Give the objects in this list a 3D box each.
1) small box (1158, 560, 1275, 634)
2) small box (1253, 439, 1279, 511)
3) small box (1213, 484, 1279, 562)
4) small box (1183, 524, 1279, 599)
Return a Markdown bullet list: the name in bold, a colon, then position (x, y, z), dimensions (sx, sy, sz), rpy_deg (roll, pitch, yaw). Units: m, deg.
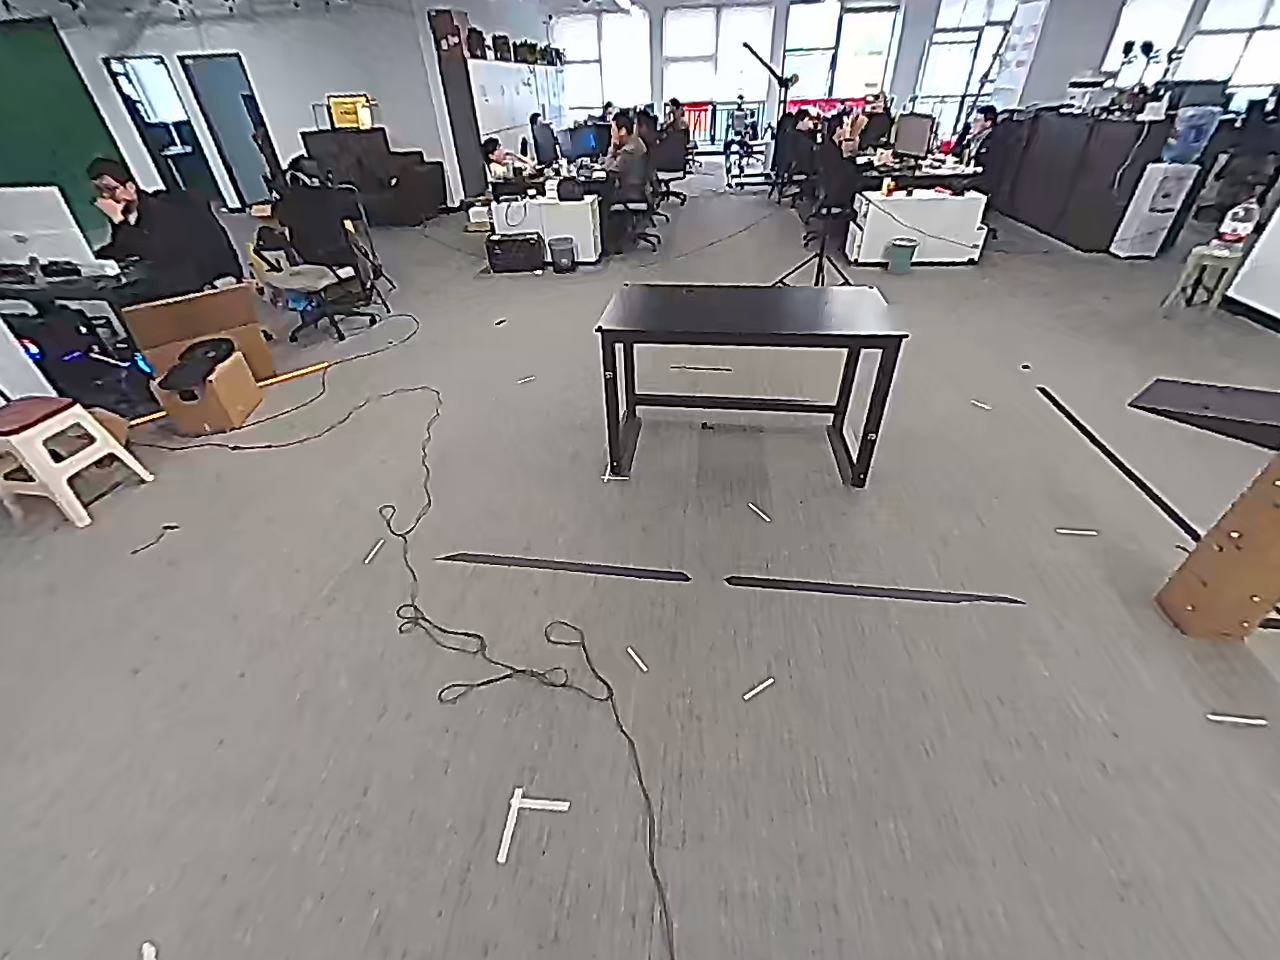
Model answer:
- **small box**: position (1.894, 0.388, 1.789), dimensions (0.168, 0.176, 0.179), rpy_deg (2, 36, 7)
- **small box**: position (1.871, -0.001, 1.487), dimensions (0.179, 0.176, 0.168), rpy_deg (4, 38, 9)
- **small box**: position (1.877, 0.128, 1.588), dimensions (0.179, 0.176, 0.168), rpy_deg (1, 37, 6)
- **small box**: position (1.885, 0.258, 1.690), dimensions (0.179, 0.176, 0.168), rpy_deg (2, 37, 5)
